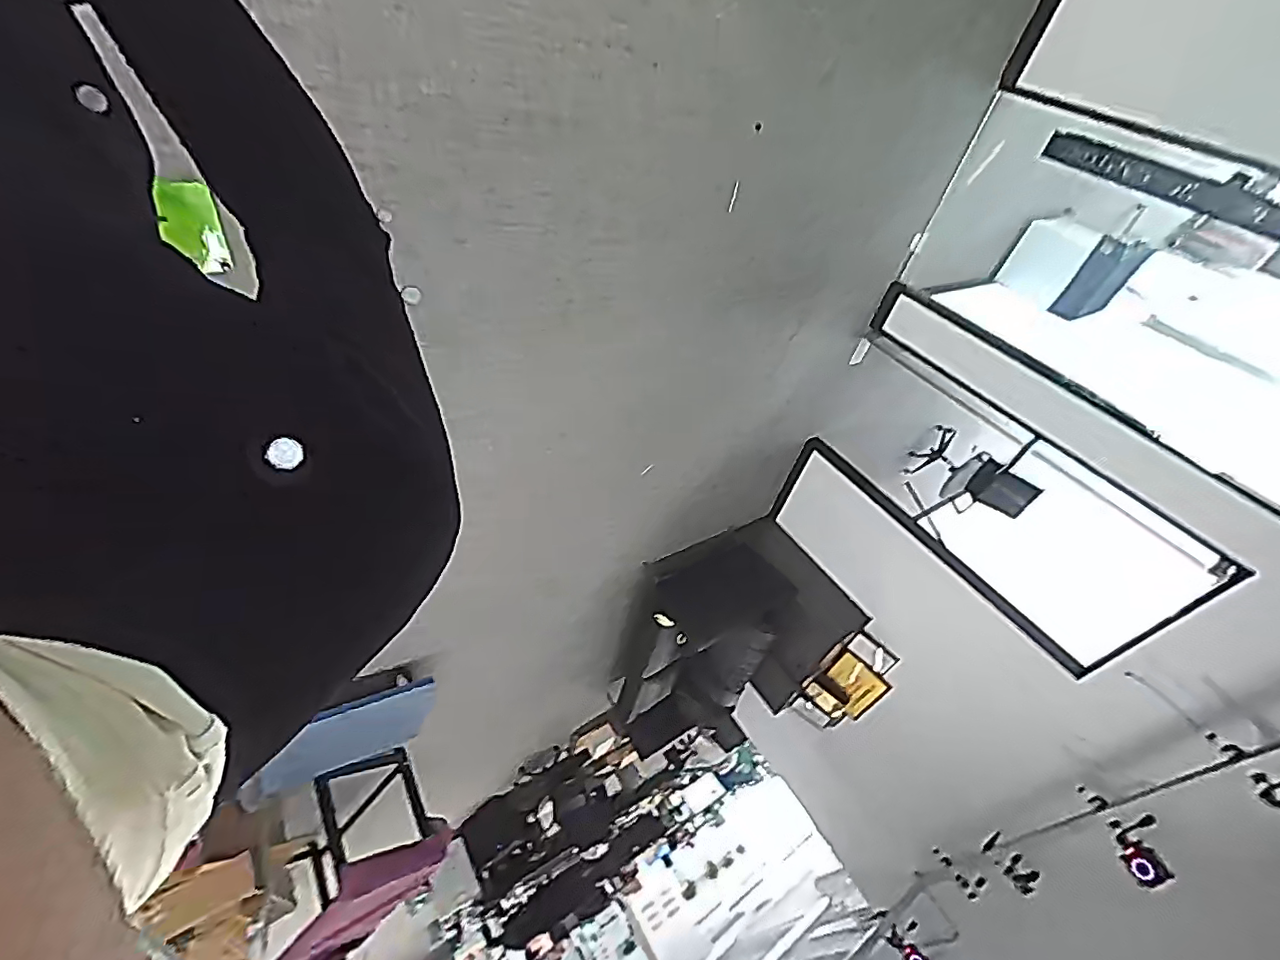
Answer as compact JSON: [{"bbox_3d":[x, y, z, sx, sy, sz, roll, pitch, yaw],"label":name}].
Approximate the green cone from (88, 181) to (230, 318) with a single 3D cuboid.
[{"bbox_3d":[-0.965,-0.445,1.111,0.202,0.368,0.200,-18,142,-30],"label":"green cone"}]
